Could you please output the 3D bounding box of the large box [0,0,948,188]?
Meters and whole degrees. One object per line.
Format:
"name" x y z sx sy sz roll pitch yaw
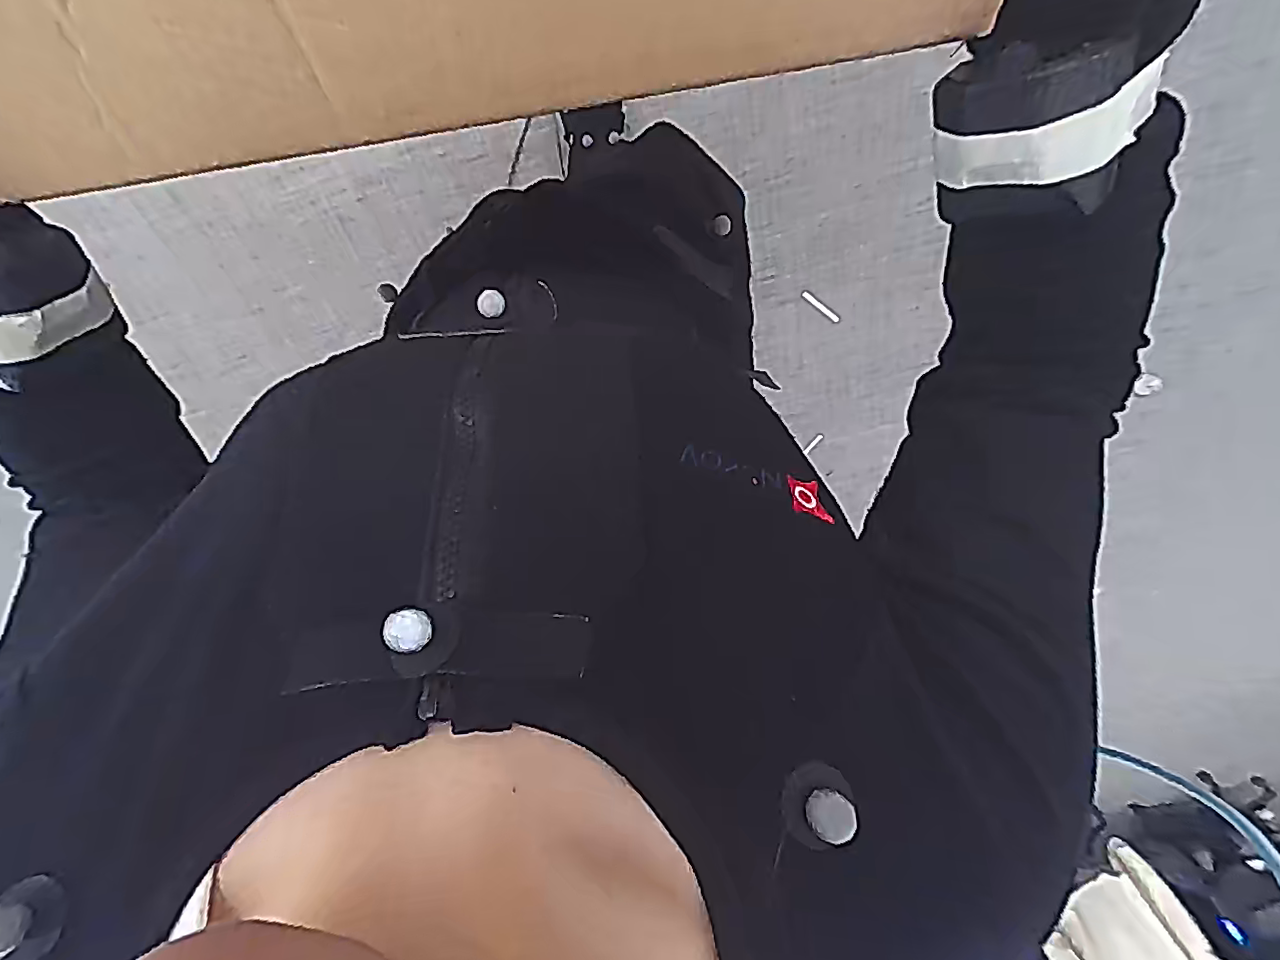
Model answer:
"large box" -0.105 -0.355 0.174 0.408 0.320 0.320 -7 144 4
